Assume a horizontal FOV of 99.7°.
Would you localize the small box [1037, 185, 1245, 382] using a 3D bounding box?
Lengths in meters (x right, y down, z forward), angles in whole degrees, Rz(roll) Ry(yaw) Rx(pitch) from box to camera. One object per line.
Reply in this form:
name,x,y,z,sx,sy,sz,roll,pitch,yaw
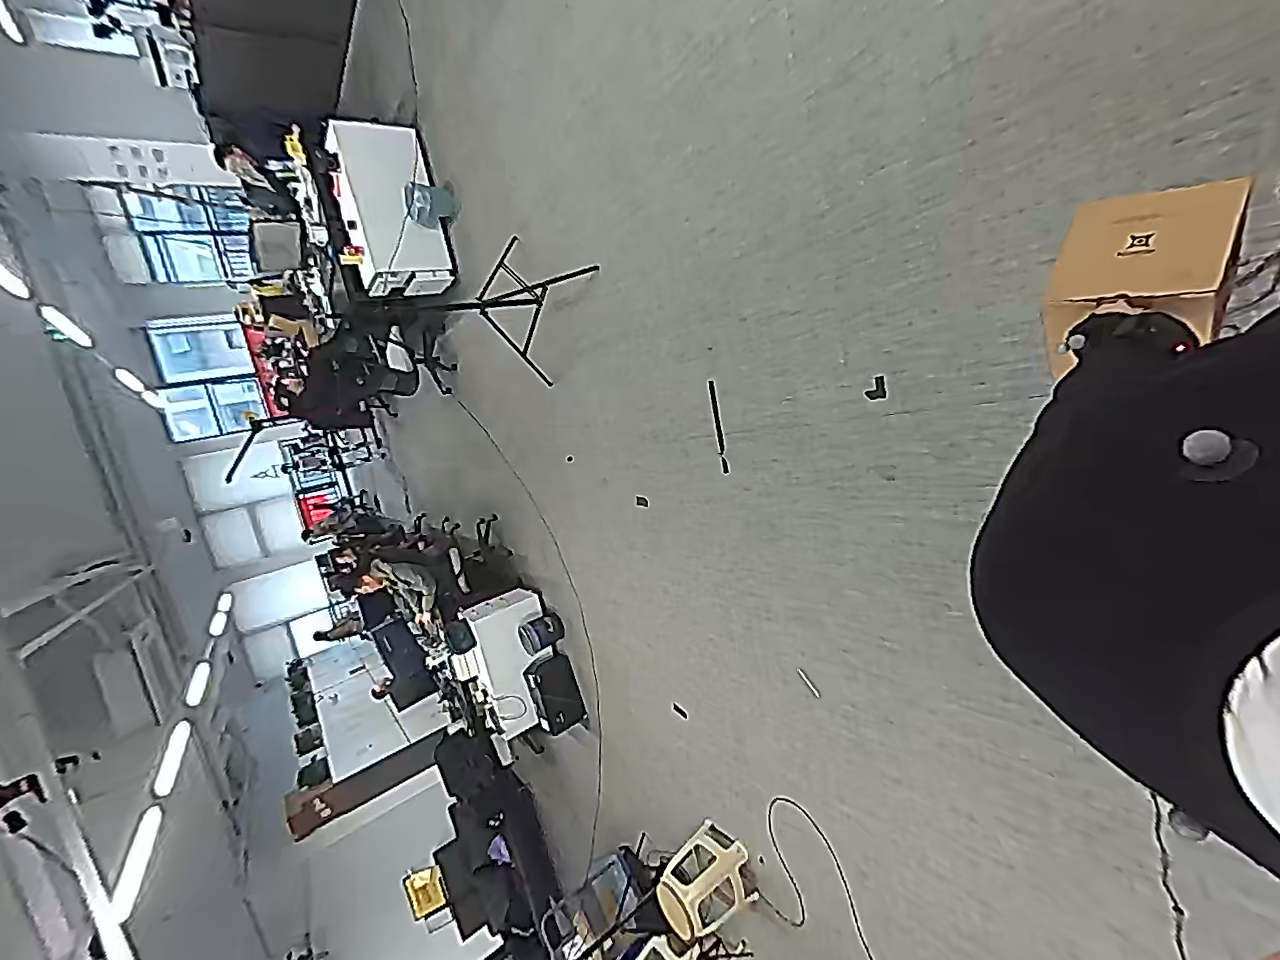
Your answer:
small box,0.668,-0.250,0.730,0.168,0.179,0.176,15,162,46
